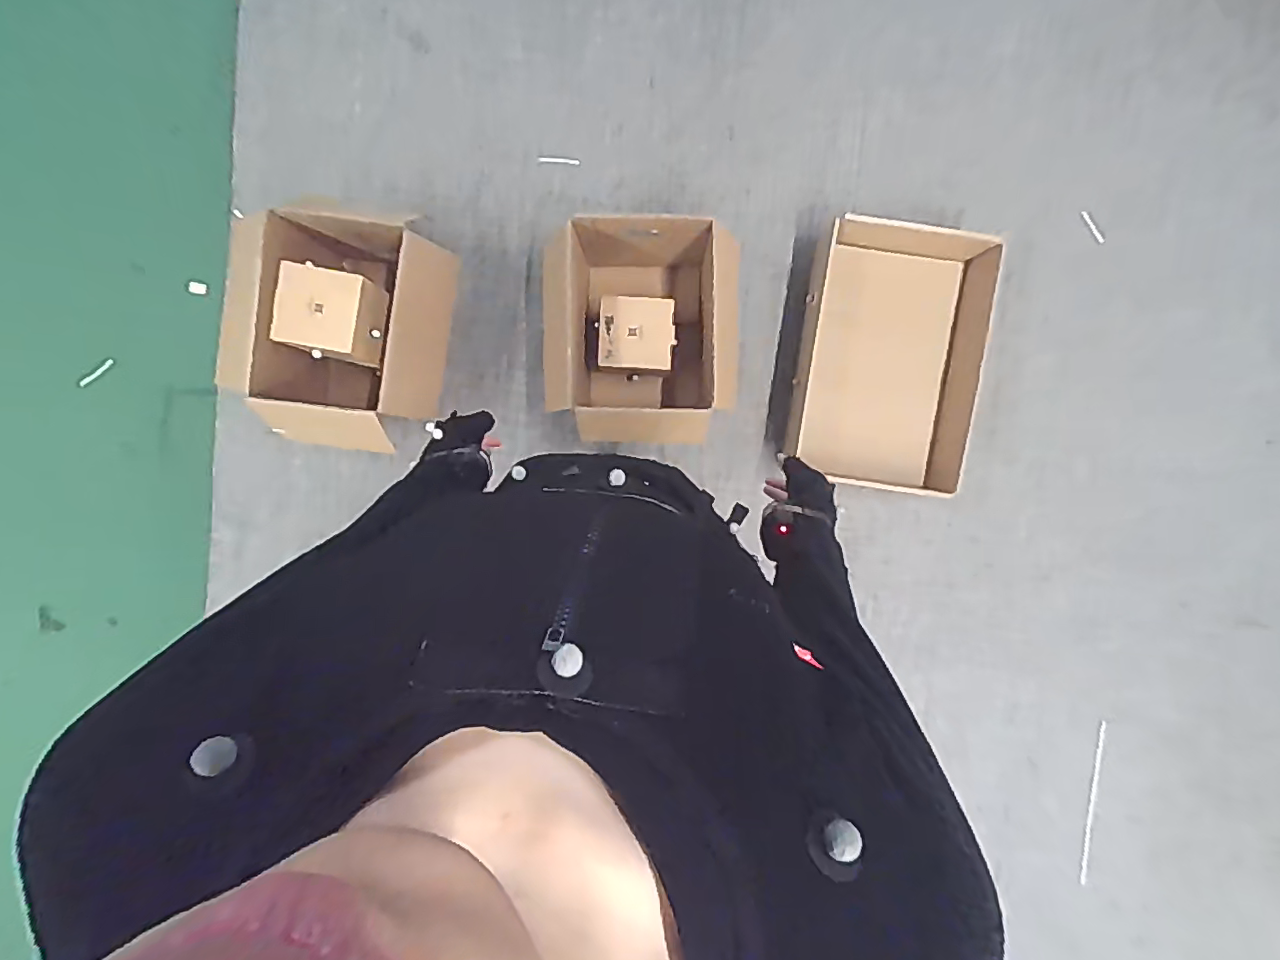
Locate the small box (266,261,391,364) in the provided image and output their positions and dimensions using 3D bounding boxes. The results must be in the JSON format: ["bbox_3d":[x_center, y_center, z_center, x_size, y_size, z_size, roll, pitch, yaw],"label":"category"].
[{"bbox_3d":[-0.680,-0.361,1.199,0.179,0.176,0.168,10,93,-1],"label":"small box"}]
